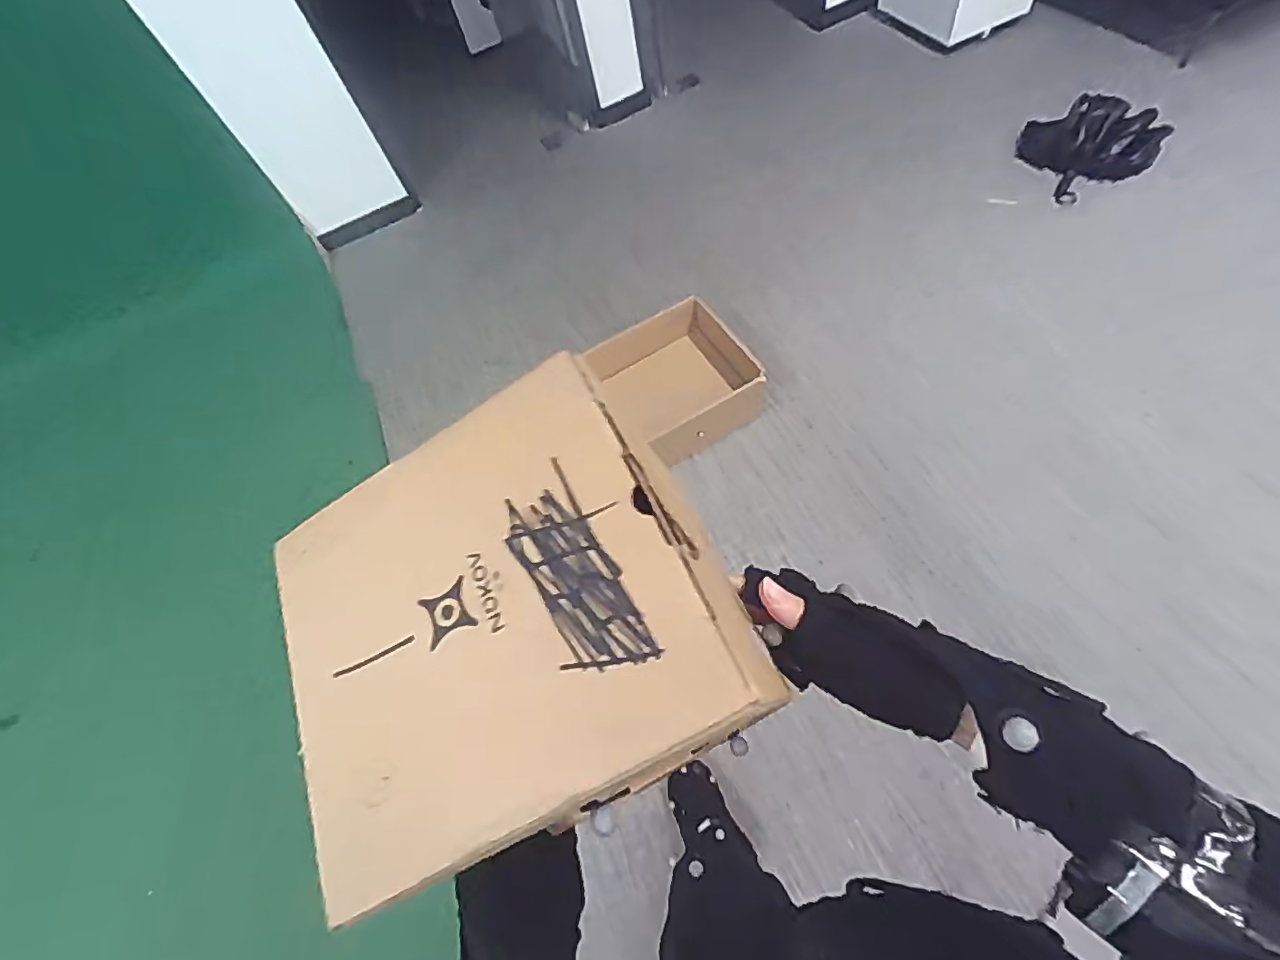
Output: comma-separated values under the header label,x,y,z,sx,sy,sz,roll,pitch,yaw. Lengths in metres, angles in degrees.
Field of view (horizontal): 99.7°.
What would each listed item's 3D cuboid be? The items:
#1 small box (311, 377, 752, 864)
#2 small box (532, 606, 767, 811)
label,x,y,z,sx,sy,sz,roll,pitch,yaw
small box,-0.047,0.079,0.318,0.179,0.176,0.168,-29,63,6
small box,-0.011,0.133,0.450,0.168,0.176,0.179,-33,61,4
